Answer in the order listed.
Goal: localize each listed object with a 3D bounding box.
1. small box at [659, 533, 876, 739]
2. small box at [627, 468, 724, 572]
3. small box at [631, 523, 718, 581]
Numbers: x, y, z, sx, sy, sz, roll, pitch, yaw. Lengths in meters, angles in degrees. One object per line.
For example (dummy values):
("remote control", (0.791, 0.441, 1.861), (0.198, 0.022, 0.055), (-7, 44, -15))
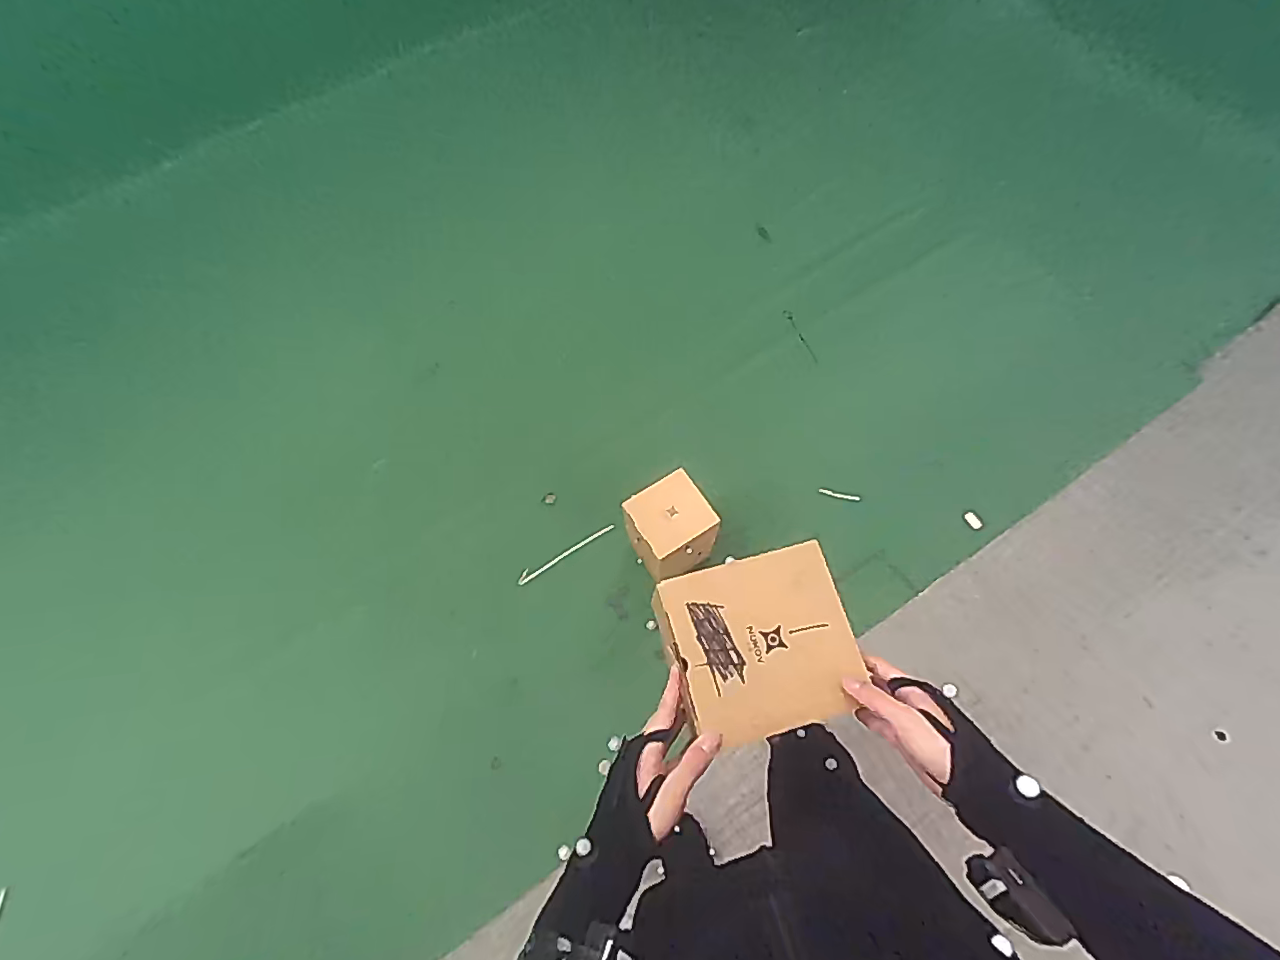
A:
("small box", (0.123, 0.175, 0.608), (0.179, 0.176, 0.168), (-14, 72, -6))
("small box", (0.084, 0.104, 1.340), (0.179, 0.176, 0.168), (-31, 70, -9))
("small box", (0.091, 0.163, 1.491), (0.179, 0.176, 0.168), (-30, 69, -9))
